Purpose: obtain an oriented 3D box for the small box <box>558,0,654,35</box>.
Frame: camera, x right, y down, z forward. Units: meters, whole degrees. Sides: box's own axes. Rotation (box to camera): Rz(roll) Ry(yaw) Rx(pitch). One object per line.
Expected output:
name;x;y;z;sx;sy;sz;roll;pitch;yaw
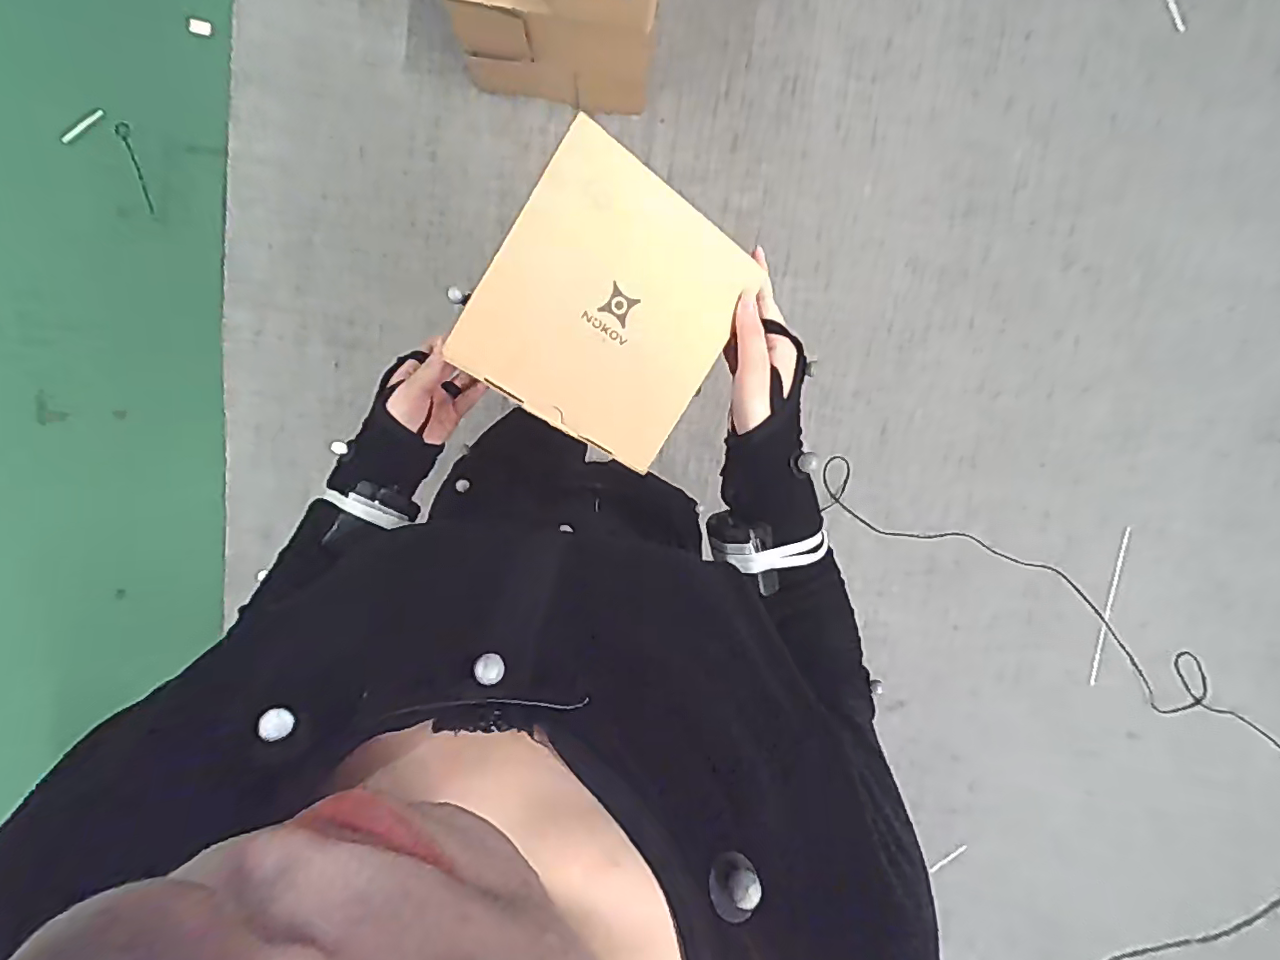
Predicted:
small box;-0.051;-0.931;0.947;0.179;0.176;0.168;8;97;-4
